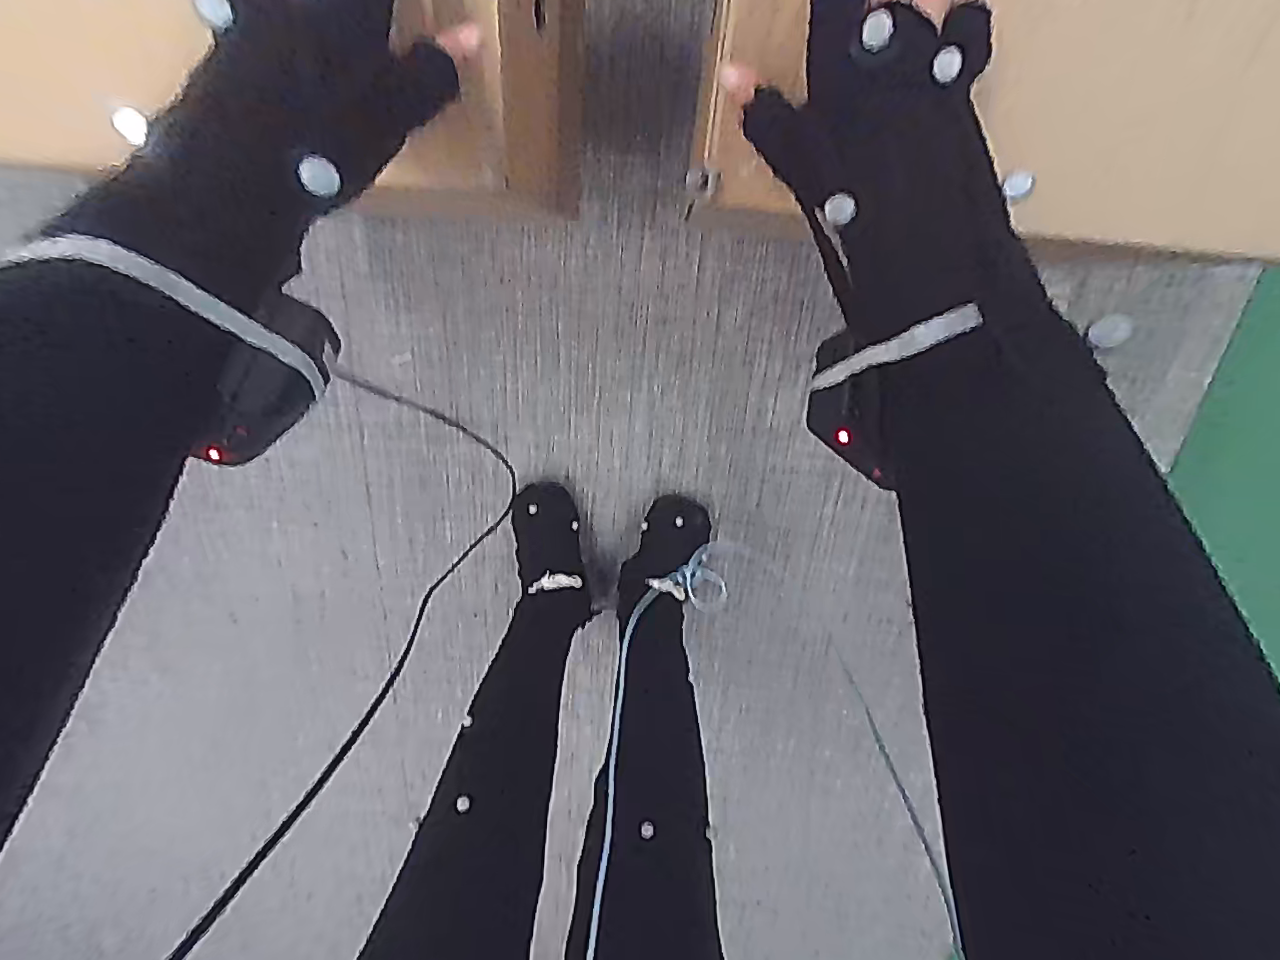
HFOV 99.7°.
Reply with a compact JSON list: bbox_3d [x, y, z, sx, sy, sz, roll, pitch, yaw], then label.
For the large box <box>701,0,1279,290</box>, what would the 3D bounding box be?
[{"bbox_3d":[0.276,-0.351,0.460,0.408,0.320,0.320,7,111,1],"label":"large box"}]
